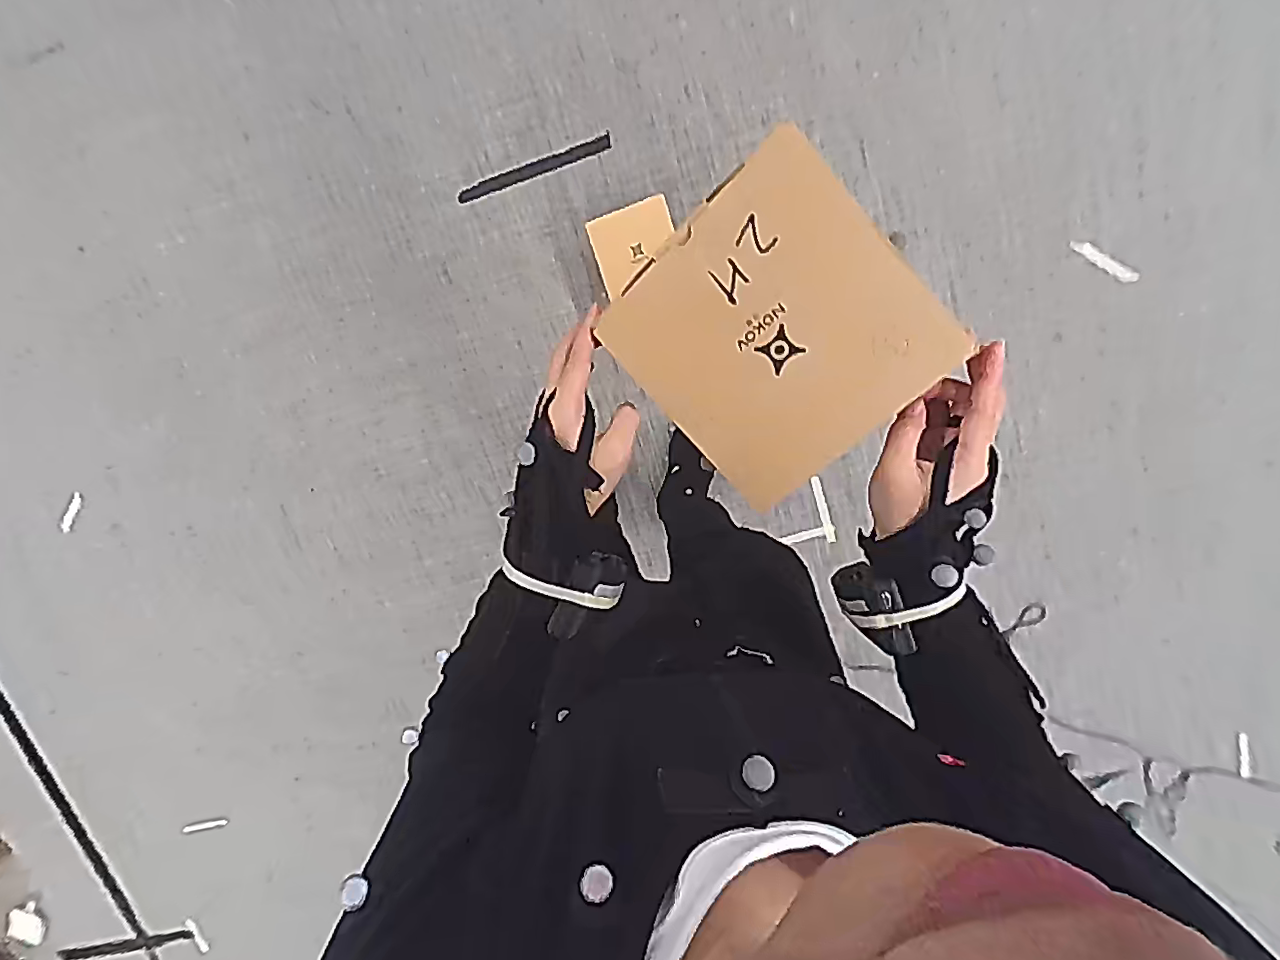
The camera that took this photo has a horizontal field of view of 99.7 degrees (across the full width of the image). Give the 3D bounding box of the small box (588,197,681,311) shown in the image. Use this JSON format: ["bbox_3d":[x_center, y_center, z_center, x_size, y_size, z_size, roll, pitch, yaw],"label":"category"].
[{"bbox_3d":[0.002,-0.464,1.149,0.168,0.176,0.179,-18,102,7],"label":"small box"}]

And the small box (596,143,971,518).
[{"bbox_3d":[0.100,-0.109,0.414,0.168,0.176,0.179,-42,97,21],"label":"small box"}]
